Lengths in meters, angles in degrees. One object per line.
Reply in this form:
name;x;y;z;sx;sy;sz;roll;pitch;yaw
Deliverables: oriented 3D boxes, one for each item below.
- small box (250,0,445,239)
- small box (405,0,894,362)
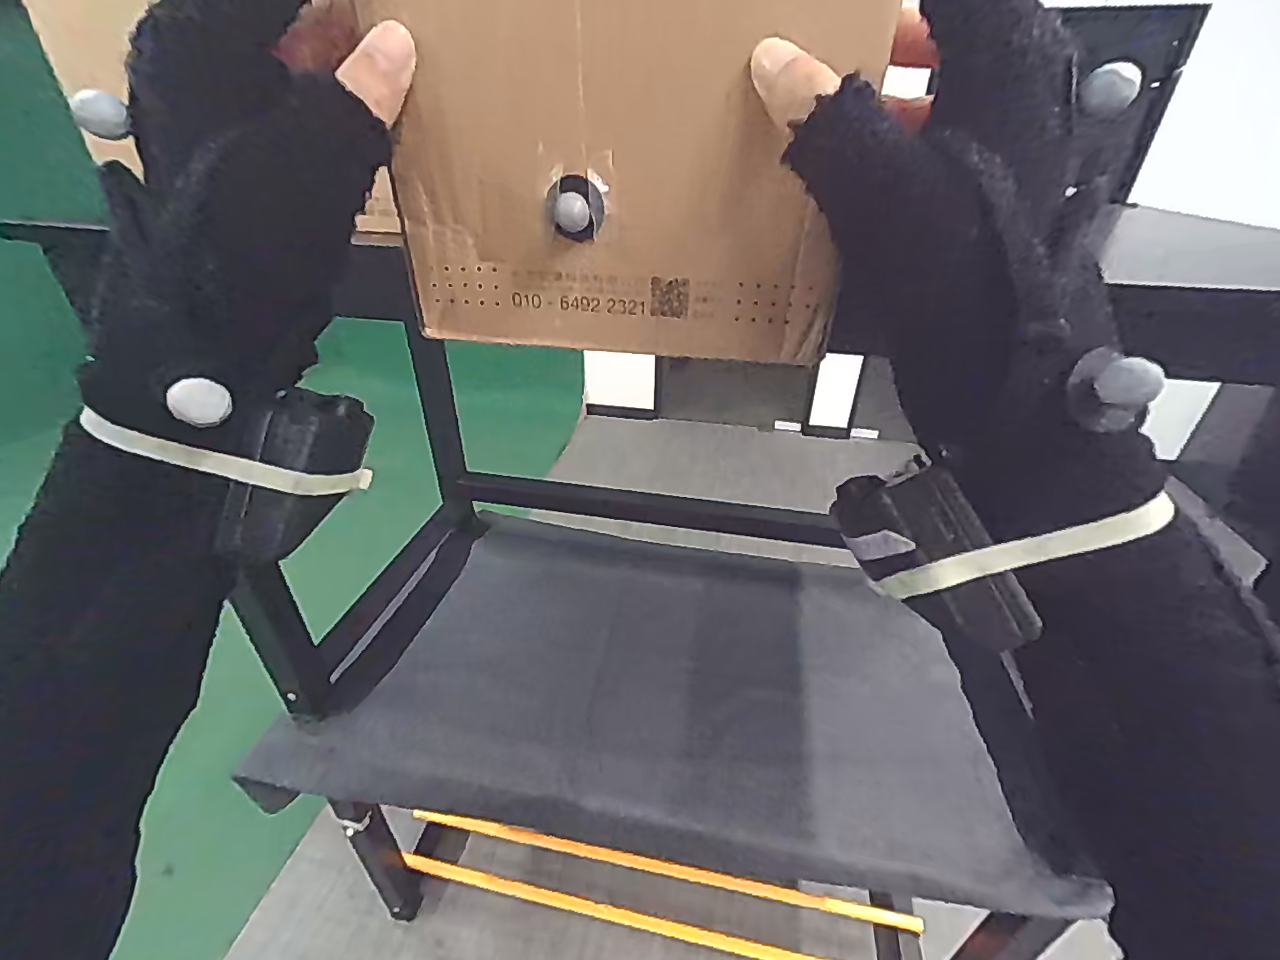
small box;-0.199;-0.327;0.504;0.168;0.176;0.179;7;32;10
small box;0.005;-0.172;0.257;0.168;0.176;0.179;5;37;4
